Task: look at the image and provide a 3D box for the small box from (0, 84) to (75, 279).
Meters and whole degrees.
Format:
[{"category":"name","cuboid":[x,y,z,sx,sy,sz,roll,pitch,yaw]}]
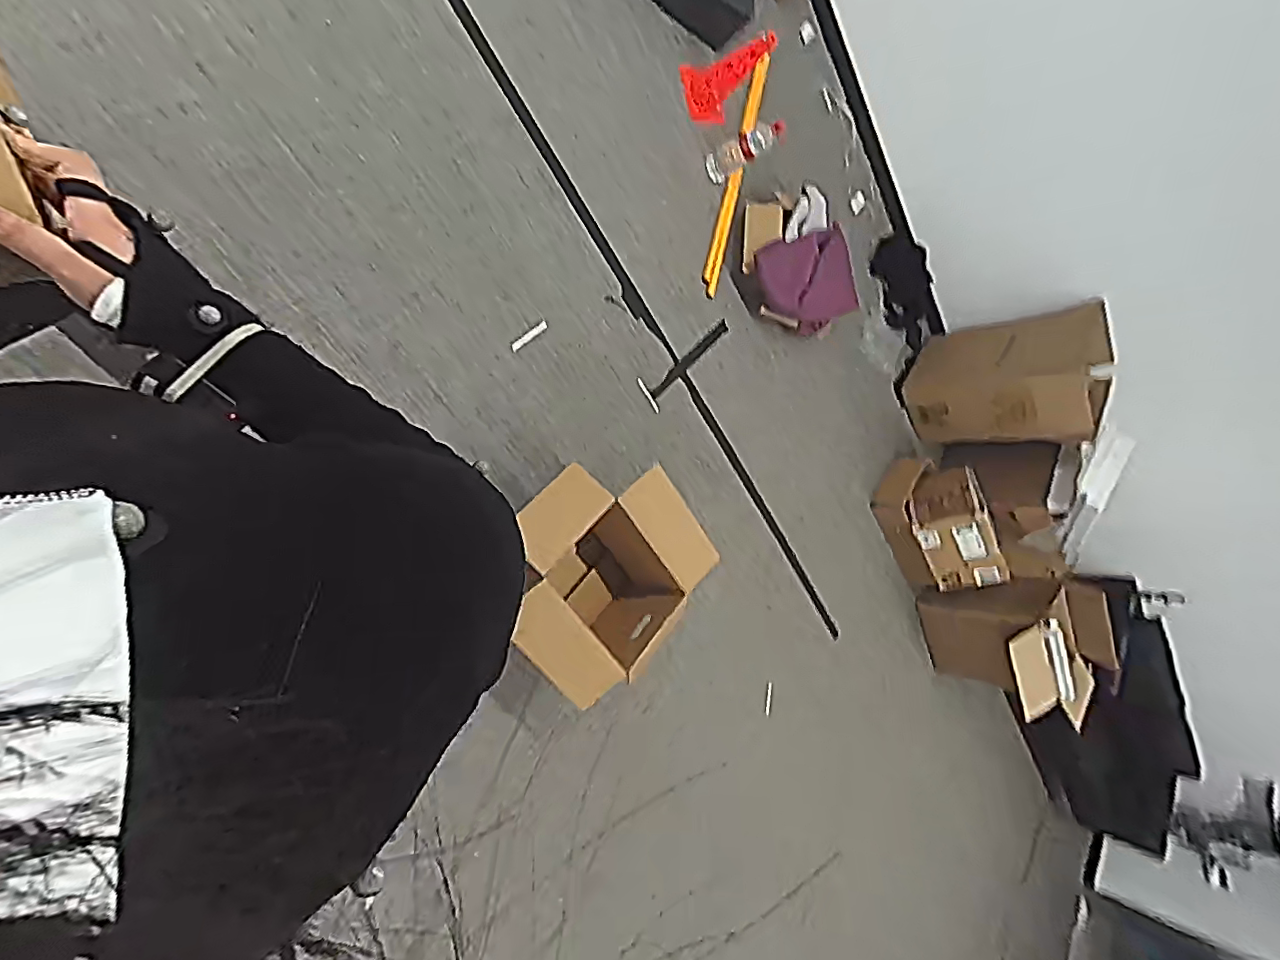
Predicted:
[{"category":"small box","cuboid":[-0.519,-0.225,0.347,0.168,0.176,0.179,-22,111,-35]}]
